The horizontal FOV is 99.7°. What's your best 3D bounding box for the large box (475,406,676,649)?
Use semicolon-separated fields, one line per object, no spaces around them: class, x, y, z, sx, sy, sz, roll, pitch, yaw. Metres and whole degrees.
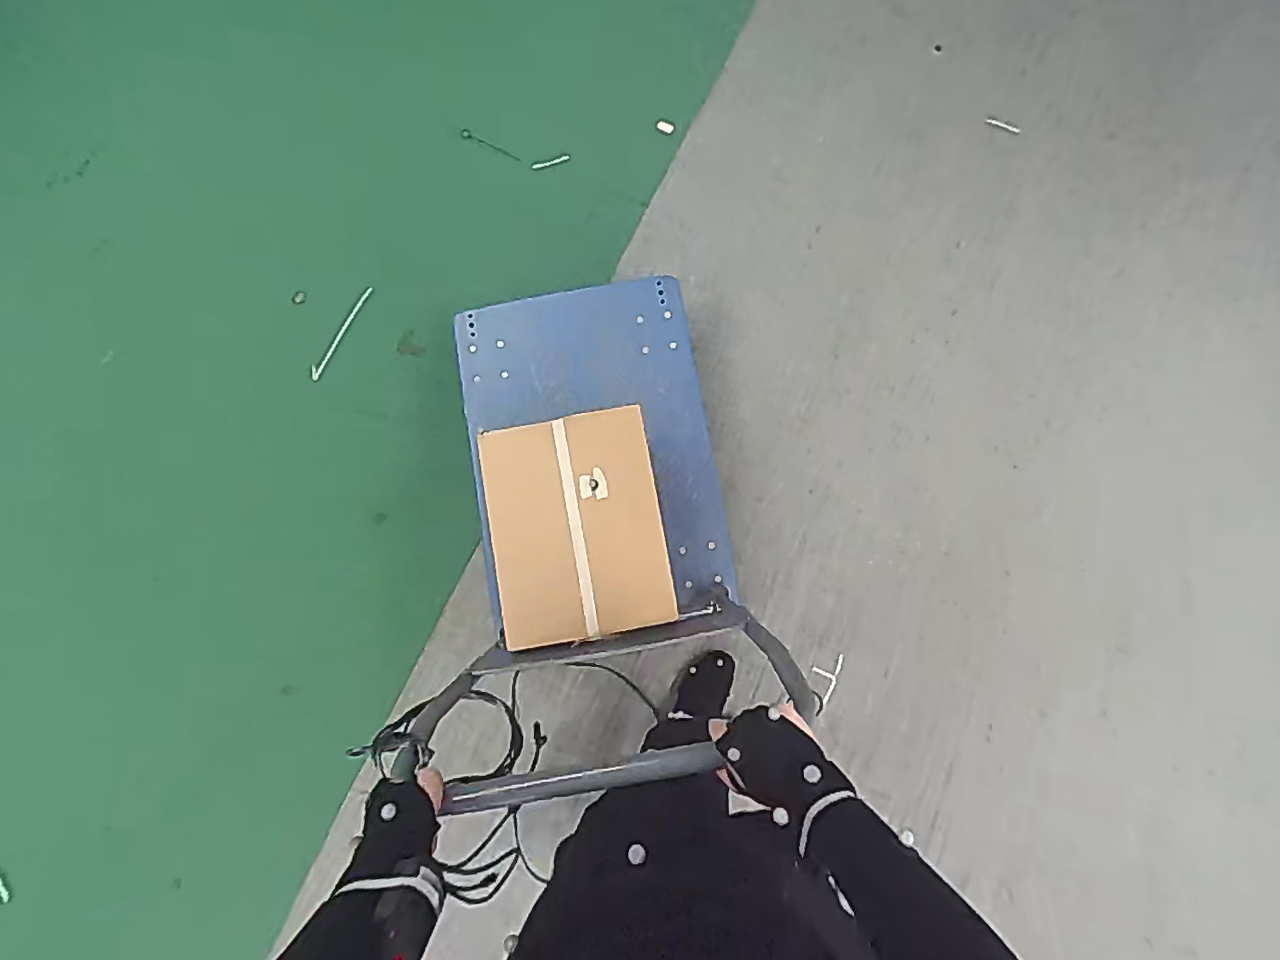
large box;-0.119;0.101;1.135;0.320;0.320;0.408;-11;82;-1
